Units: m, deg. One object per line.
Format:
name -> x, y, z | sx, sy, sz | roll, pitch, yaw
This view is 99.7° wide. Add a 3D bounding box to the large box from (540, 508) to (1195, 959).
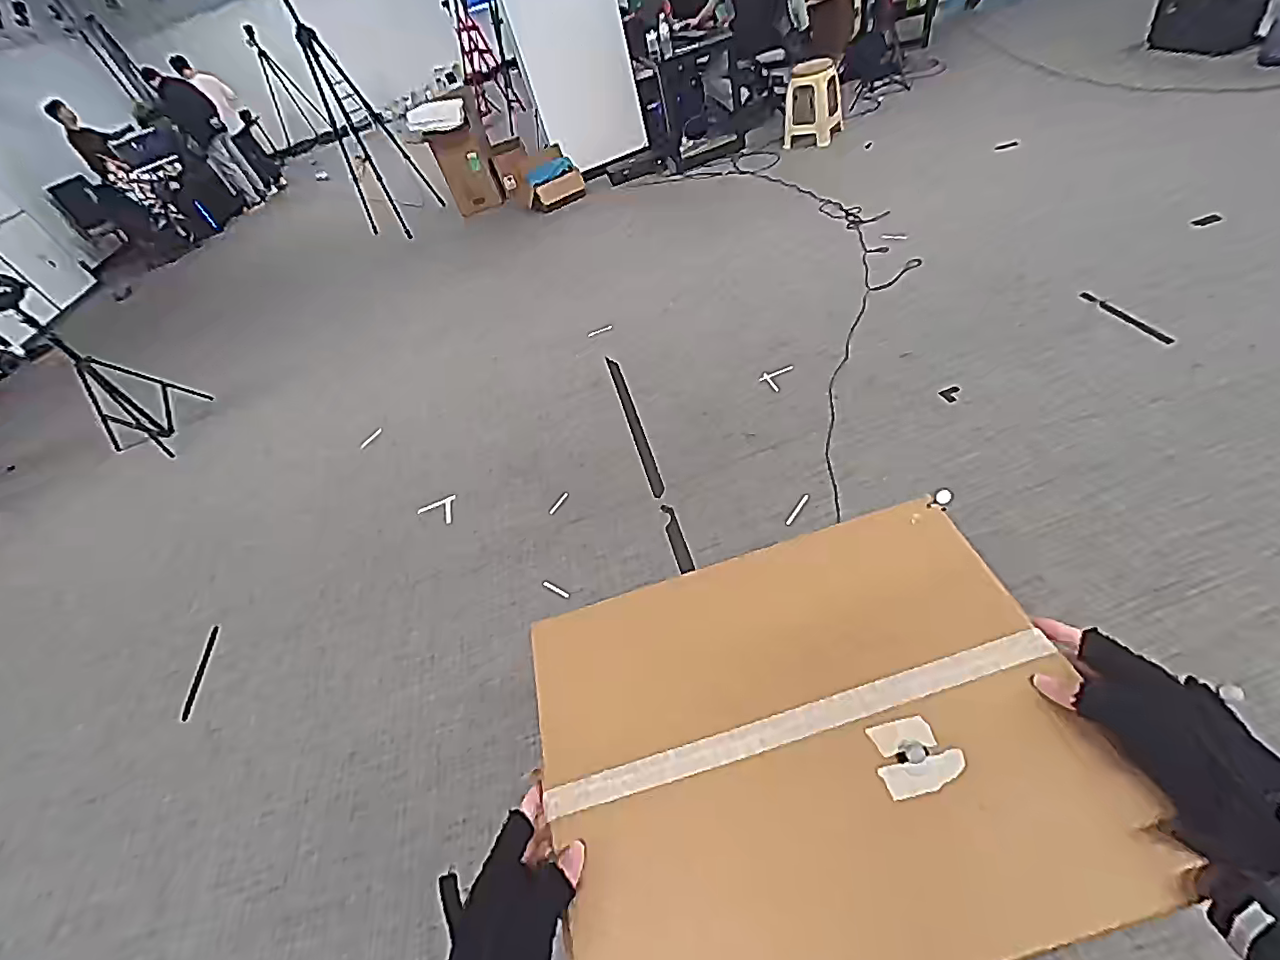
large box -> 0.154, 0.292, 0.542 | 0.408, 0.320, 0.320 | -18, 49, 0
